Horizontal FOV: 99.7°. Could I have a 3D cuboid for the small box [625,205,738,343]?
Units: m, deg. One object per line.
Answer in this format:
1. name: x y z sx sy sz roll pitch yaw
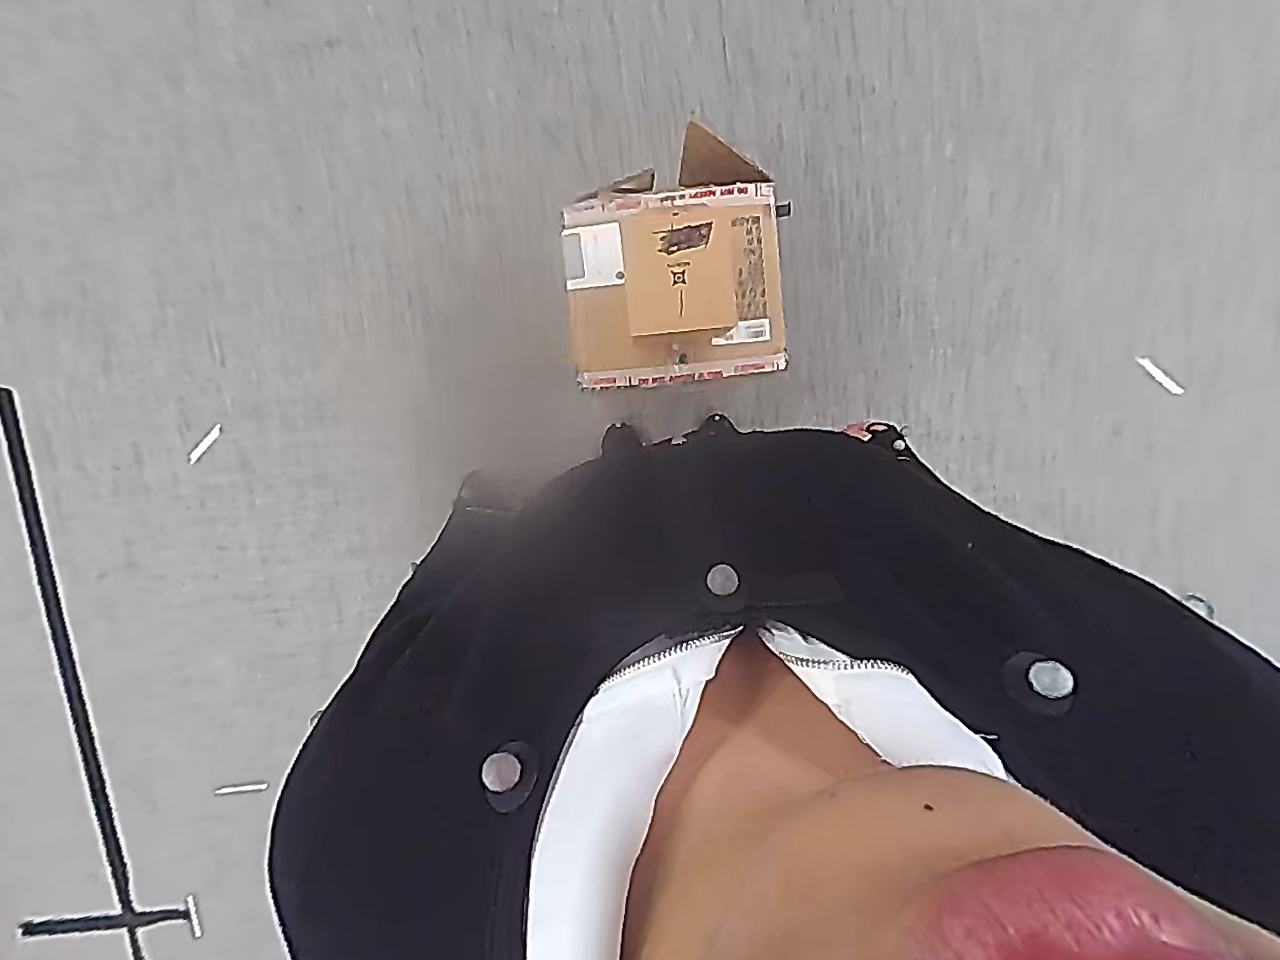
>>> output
1. small box: 0.062 -0.327 0.889 0.168 0.176 0.179 -5 100 1
